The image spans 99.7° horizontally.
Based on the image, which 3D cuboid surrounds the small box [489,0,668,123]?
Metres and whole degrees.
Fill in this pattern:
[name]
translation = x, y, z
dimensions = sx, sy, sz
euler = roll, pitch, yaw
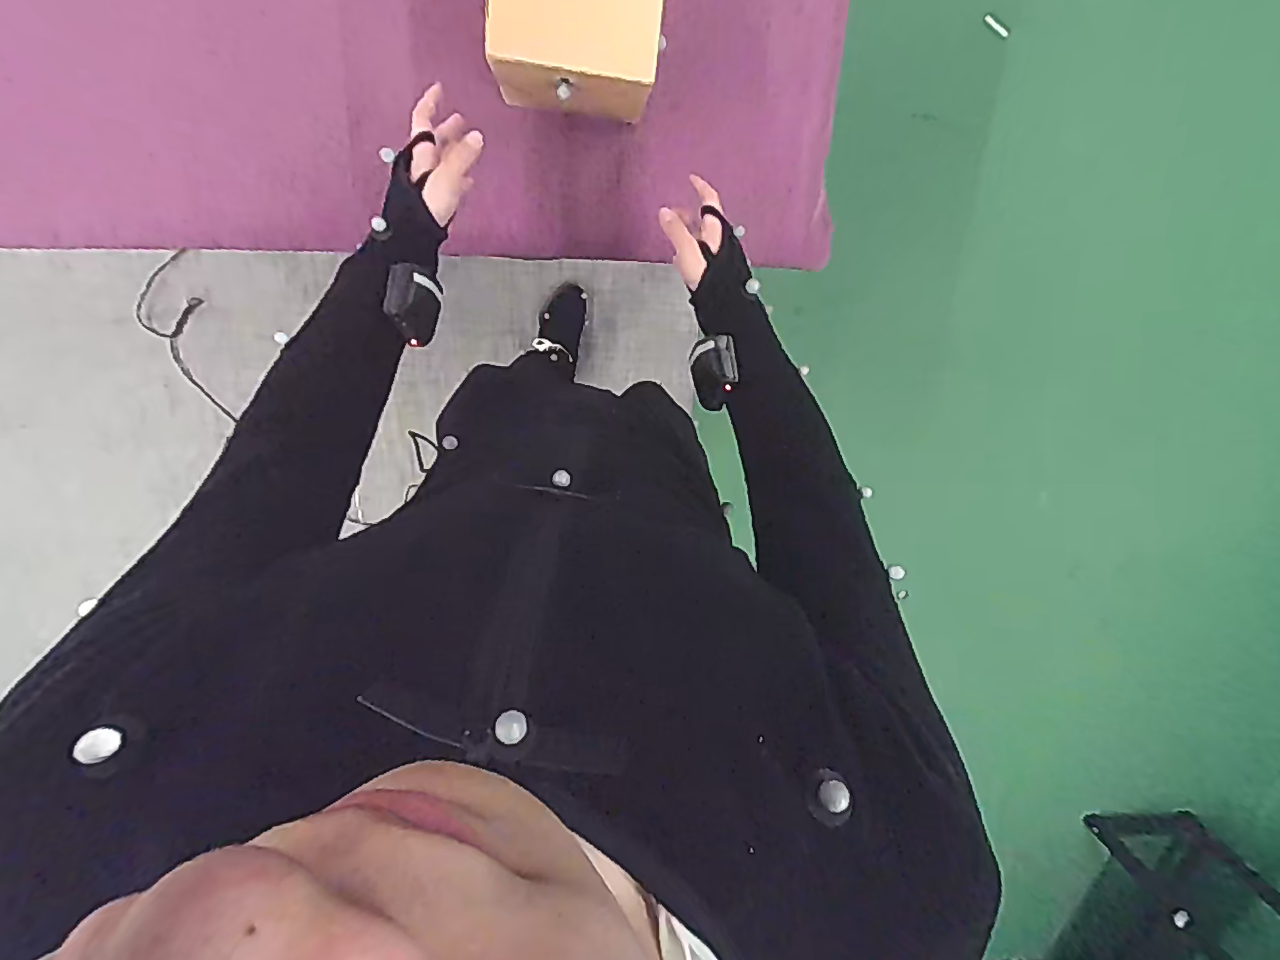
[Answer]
[small box]
translation = -0.065, -0.520, 0.603
dimensions = 0.179, 0.176, 0.168
euler = 5, 111, -7
